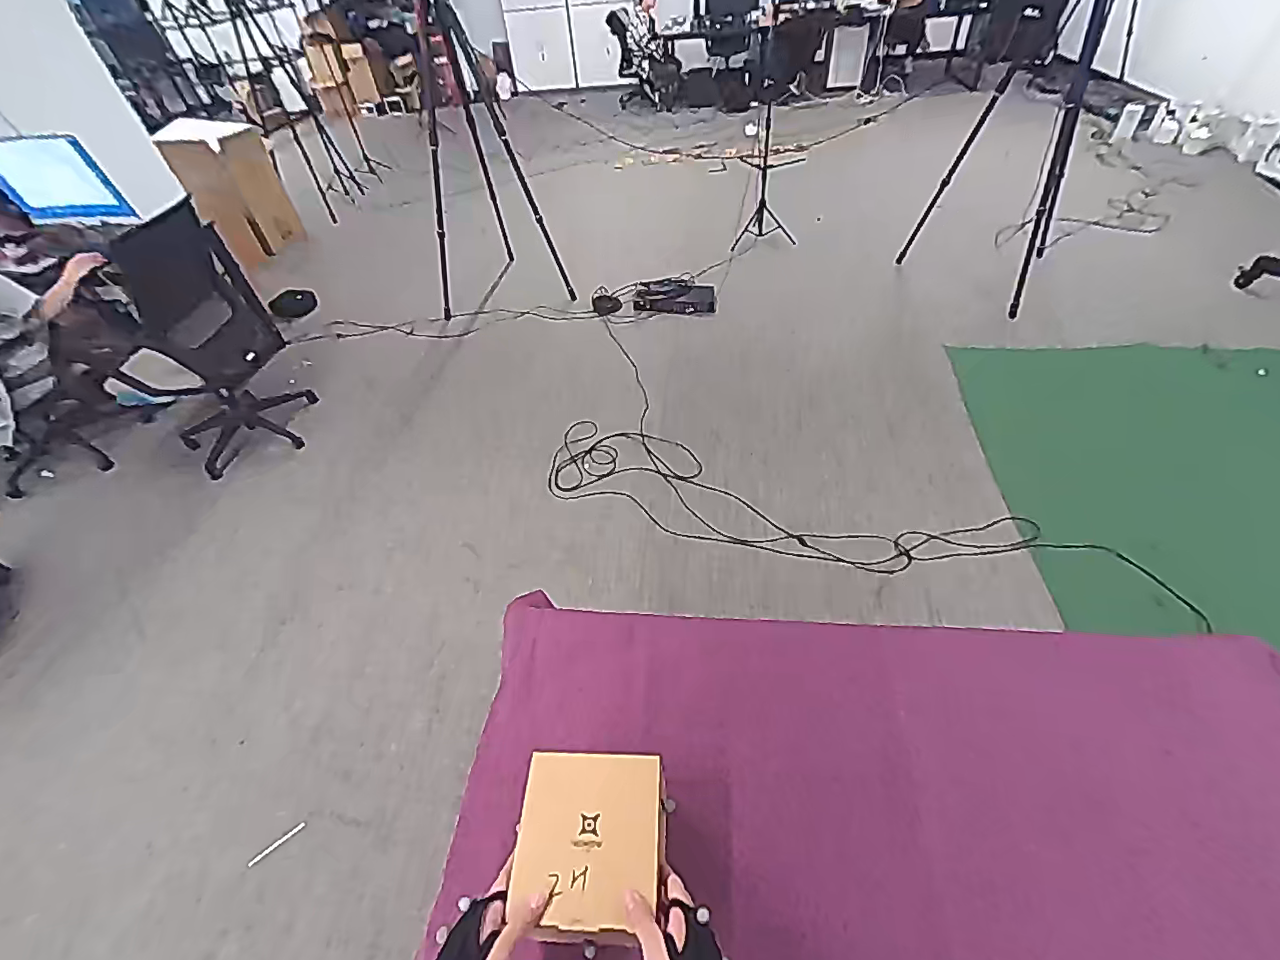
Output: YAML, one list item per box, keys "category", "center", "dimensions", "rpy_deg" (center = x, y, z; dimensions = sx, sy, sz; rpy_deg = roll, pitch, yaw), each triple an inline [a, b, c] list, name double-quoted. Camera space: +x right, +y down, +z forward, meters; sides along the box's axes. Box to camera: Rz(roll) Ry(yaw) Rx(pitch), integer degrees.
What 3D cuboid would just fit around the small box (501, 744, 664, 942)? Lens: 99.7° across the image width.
- category: "small box"
  center: [-0.058, 0.459, 0.685]
  dimensions: [0.168, 0.176, 0.179]
  rpy_deg: [-1, 46, 6]
